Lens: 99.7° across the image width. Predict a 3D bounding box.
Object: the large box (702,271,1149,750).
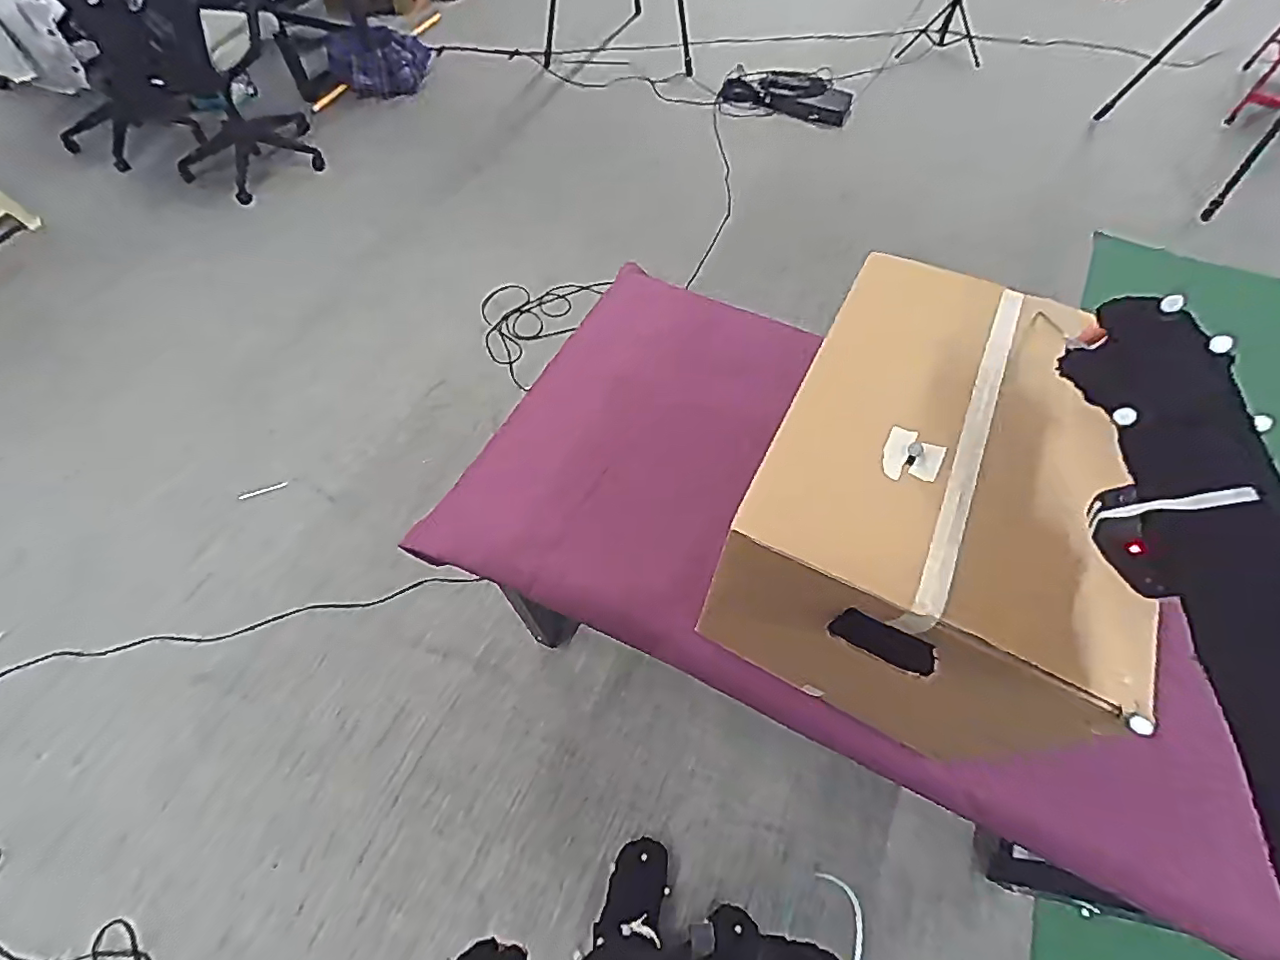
[{"bbox_3d":[0.304,0.039,0.640,0.320,0.320,0.408,25,63,15],"label":"large box"}]
